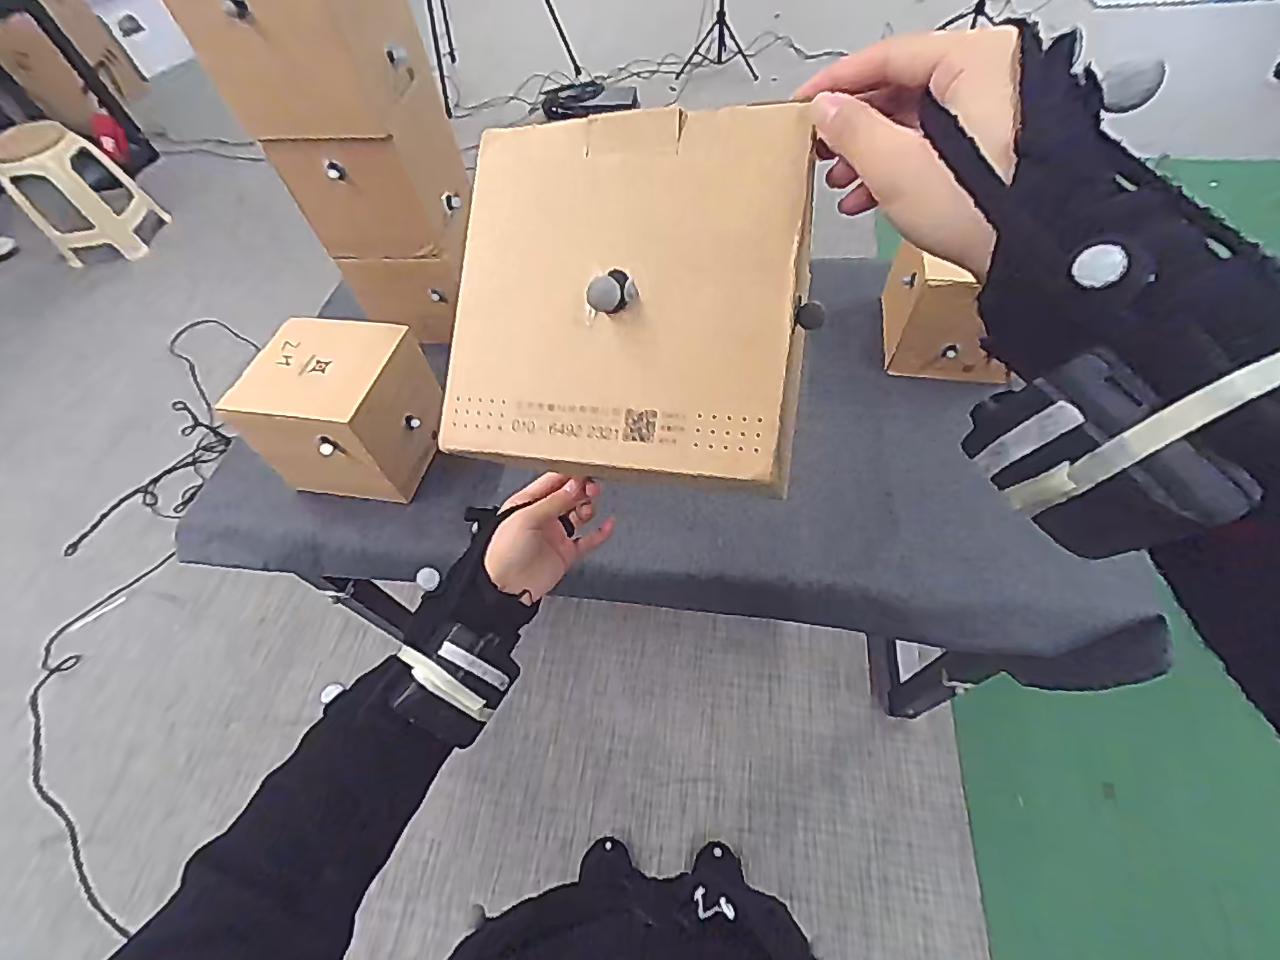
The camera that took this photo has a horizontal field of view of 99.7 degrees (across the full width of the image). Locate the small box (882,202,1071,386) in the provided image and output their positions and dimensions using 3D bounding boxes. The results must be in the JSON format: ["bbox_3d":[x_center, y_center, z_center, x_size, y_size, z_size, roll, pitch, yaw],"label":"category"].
[{"bbox_3d":[0.448,-0.258,0.757,0.168,0.176,0.179,7,60,10],"label":"small box"}]

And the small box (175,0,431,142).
[{"bbox_3d":[-0.365,-0.501,0.597,0.179,0.176,0.168,4,60,6],"label":"small box"}]

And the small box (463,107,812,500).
[{"bbox_3d":[0.012,-0.079,0.329,0.168,0.179,0.176,7,87,16],"label":"small box"}]

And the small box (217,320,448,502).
[{"bbox_3d":[-0.383,-0.087,0.716,0.179,0.176,0.168,6,55,9],"label":"small box"}]

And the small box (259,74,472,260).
[{"bbox_3d":[-0.356,-0.422,0.741,0.179,0.176,0.168,2,60,5],"label":"small box"}]
